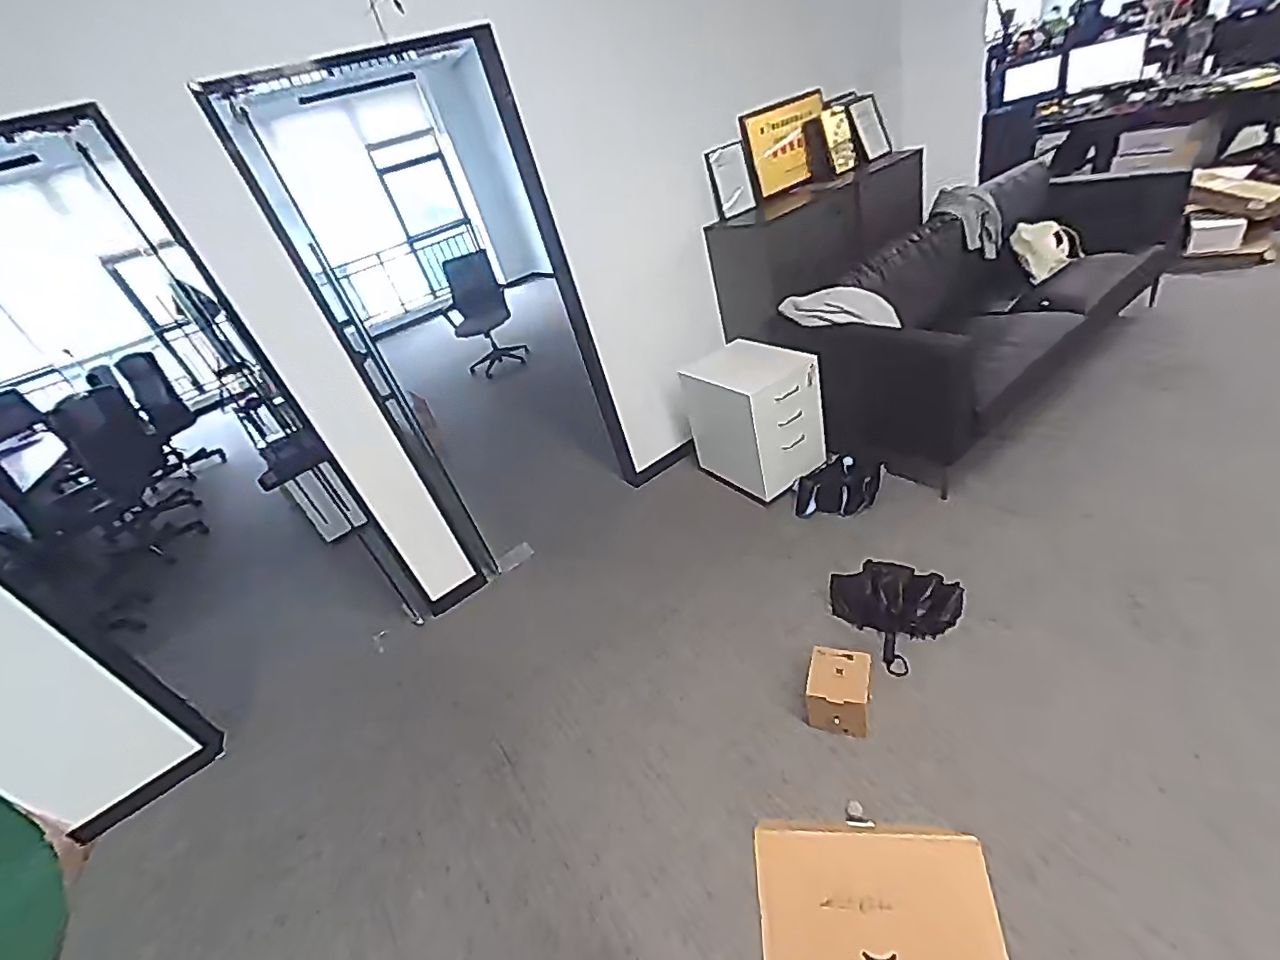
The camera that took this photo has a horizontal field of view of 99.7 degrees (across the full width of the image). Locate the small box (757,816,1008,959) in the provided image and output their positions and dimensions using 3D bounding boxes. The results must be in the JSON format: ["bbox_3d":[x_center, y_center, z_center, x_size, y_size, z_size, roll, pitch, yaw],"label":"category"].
[{"bbox_3d":[0.190,0.387,0.447,0.168,0.176,0.179,-6,60,10],"label":"small box"}]
